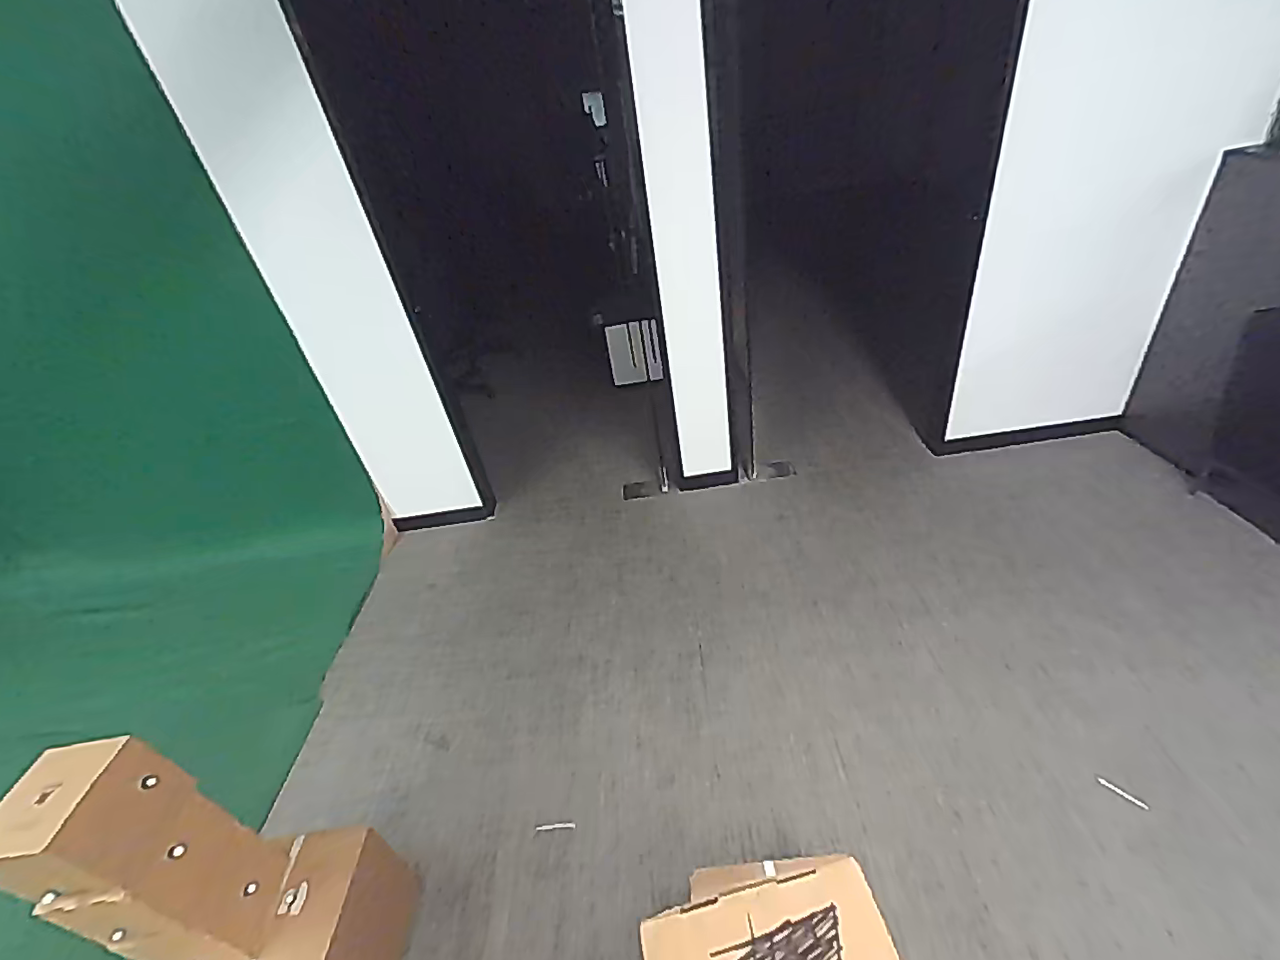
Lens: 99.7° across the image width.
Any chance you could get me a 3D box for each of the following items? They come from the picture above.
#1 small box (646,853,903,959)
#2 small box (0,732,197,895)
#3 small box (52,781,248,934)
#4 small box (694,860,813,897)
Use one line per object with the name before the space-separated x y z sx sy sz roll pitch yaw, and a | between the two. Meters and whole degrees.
small box | 0.111 0.404 0.382 0.168 0.176 0.179 -16 43 -1
small box | -0.901 0.555 0.902 0.168 0.176 0.179 -11 36 6
small box | -0.872 0.689 0.990 0.168 0.176 0.179 -12 36 4
small box | 0.182 0.659 0.738 0.179 0.176 0.168 -13 34 1
